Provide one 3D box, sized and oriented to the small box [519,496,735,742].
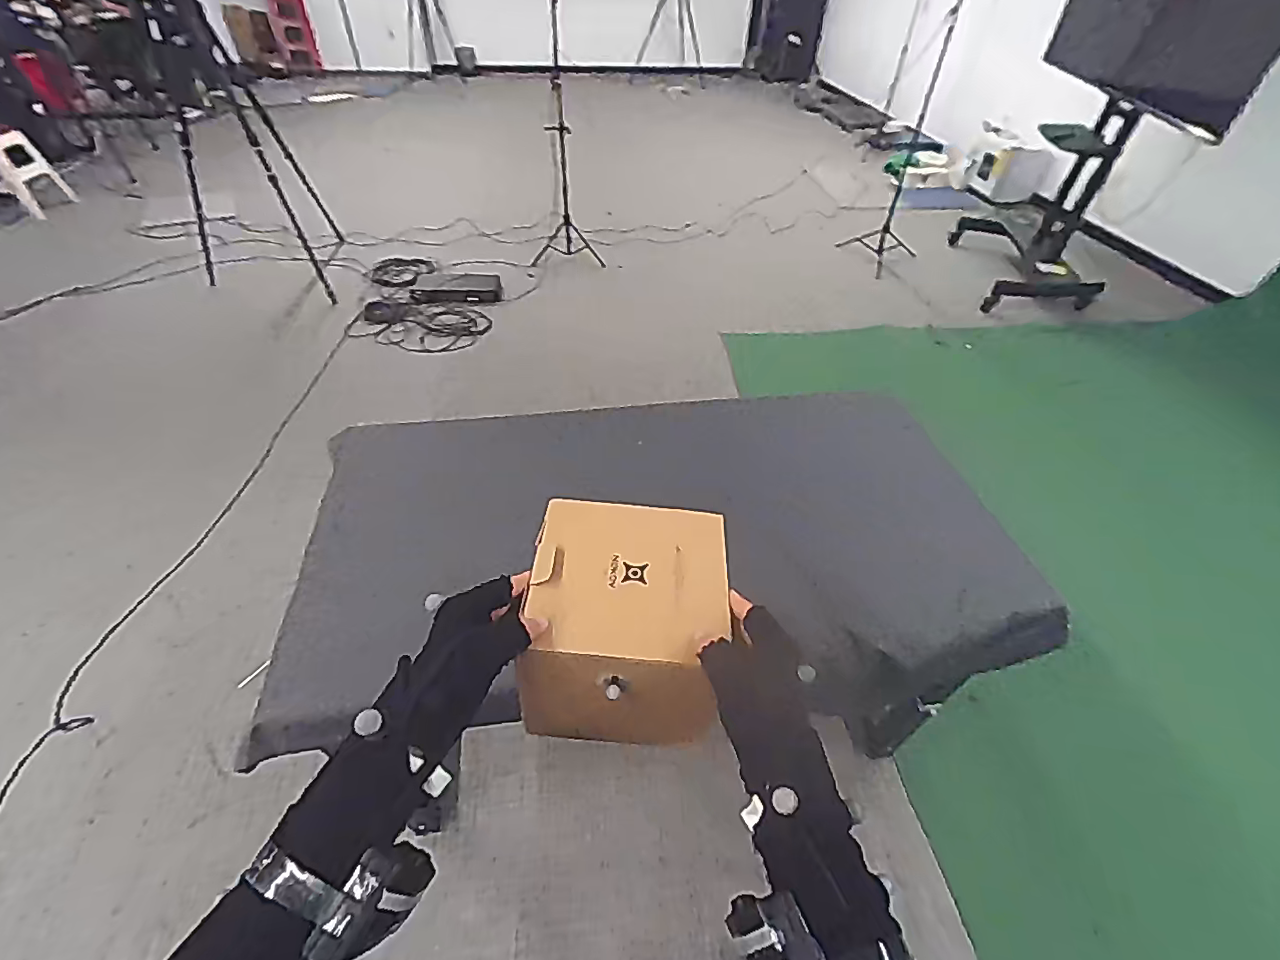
[{"bbox_3d":[-0.013,0.140,0.536,0.179,0.176,0.168,8,43,-2],"label":"small box"}]
